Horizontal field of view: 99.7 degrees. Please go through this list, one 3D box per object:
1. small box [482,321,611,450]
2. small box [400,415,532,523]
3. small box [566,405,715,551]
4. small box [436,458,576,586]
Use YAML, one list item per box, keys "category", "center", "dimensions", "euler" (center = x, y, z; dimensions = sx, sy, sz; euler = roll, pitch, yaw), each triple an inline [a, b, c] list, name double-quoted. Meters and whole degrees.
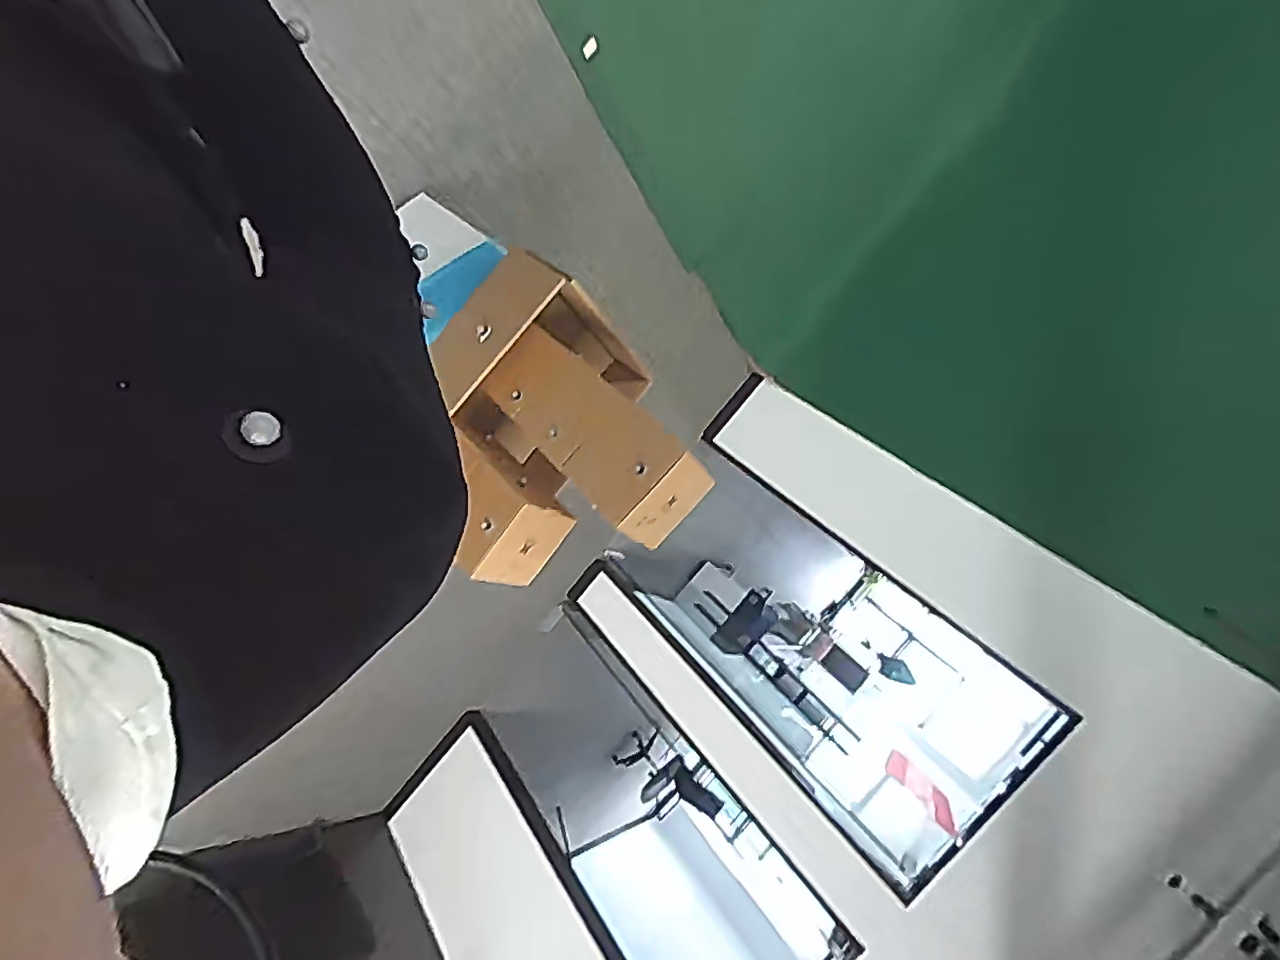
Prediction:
- category: "small box"
  center: [-0.201, -0.202, 1.147]
  dimensions: [0.179, 0.176, 0.168]
  euler: [-47, 149, 4]
- category: "small box"
  center: [-0.373, -0.010, 1.150]
  dimensions: [0.179, 0.176, 0.168]
  euler: [-52, 148, 4]
- category: "small box"
  center: [0.000, -0.004, 0.978]
  dimensions: [0.179, 0.176, 0.168]
  euler: [-46, 148, 3]
- category: "small box"
  center: [-0.267, 0.083, 1.066]
  dimensions: [0.179, 0.176, 0.168]
  euler: [-51, 148, 6]
